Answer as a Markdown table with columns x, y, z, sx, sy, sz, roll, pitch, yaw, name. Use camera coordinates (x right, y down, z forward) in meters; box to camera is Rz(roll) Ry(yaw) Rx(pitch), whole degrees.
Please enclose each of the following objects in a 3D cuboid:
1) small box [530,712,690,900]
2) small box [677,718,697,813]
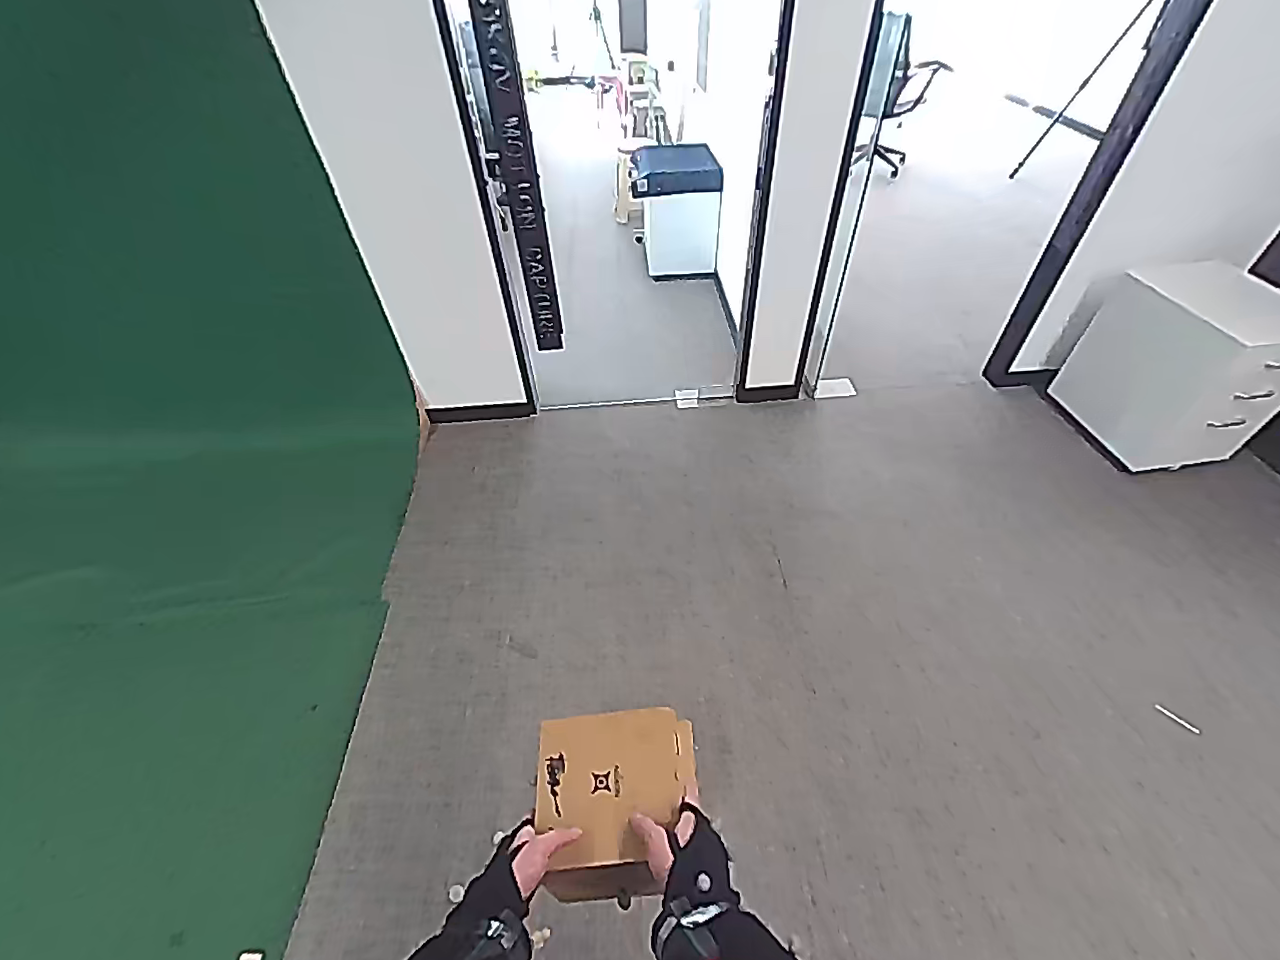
| x | y | z | sx | sy | sz | roll | pitch | yaw | name |
| --- | --- | --- | --- | --- | --- | --- | --- | --- | --- |
| -0.031 | 0.419 | 0.695 | 0.179 | 0.176 | 0.168 | -6 | 42 | 1 | small box |
| 0.053 | 0.719 | 1.356 | 0.168 | 0.176 | 0.179 | -3 | 47 | 3 | small box |
